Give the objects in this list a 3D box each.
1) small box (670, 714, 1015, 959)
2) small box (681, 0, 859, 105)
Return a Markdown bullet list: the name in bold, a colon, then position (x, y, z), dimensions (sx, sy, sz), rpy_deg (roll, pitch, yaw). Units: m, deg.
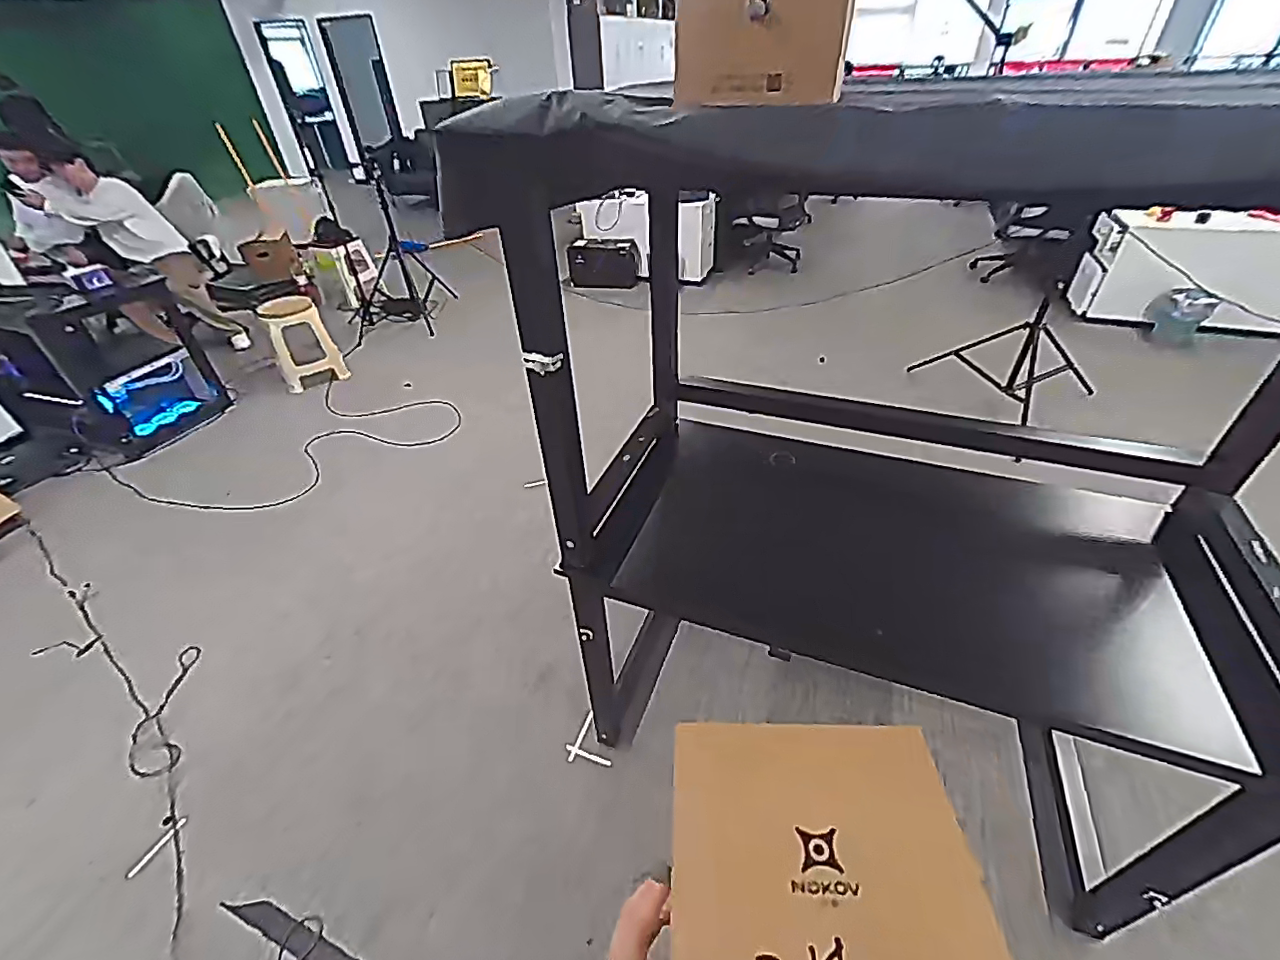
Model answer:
- **small box**: position (0.106, 0.276, 0.339), dimensions (0.168, 0.176, 0.179), rpy_deg (-2, 32, 7)
- **small box**: position (0.141, -0.498, 0.565), dimensions (0.168, 0.176, 0.179), rpy_deg (10, 39, 14)
